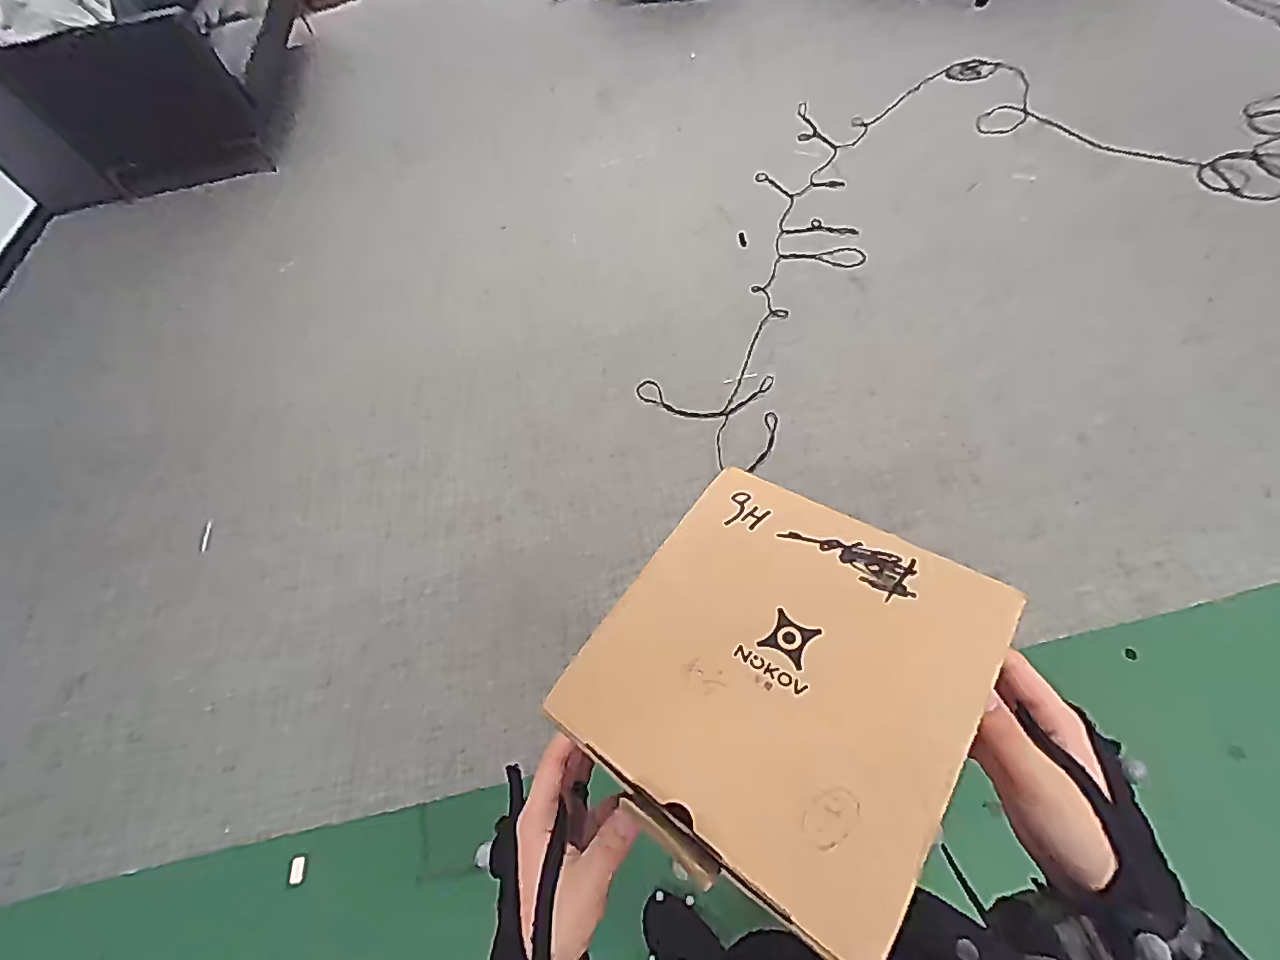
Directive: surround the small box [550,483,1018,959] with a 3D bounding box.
[{"bbox_3d":[0.083,0.140,0.324,0.168,0.176,0.179,26,63,29],"label":"small box"}]
